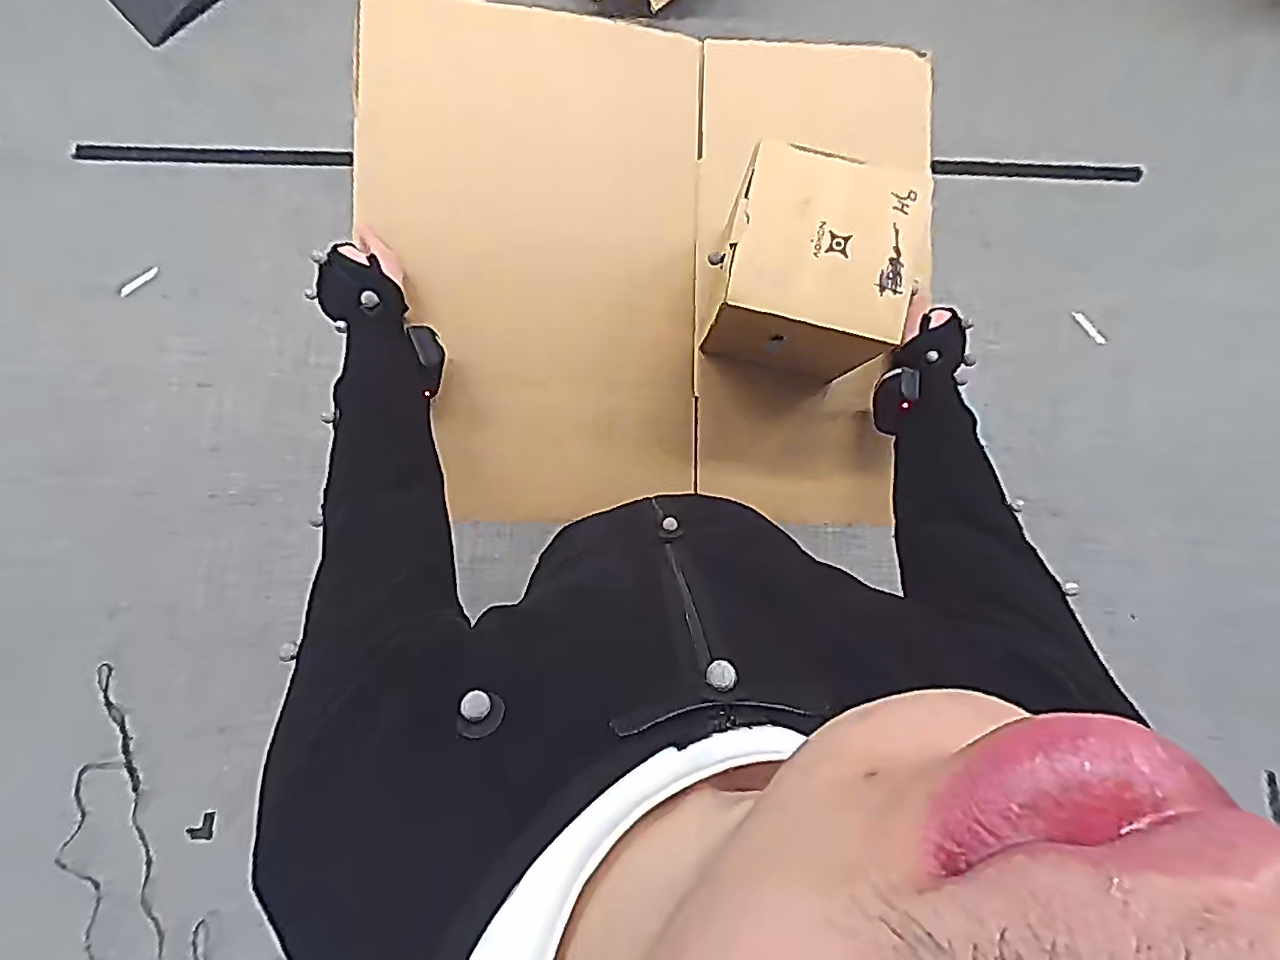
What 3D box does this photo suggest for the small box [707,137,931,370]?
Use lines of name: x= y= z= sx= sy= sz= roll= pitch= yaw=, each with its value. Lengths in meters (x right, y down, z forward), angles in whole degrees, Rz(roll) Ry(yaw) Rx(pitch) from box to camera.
small box: x=0.179 y=-0.232 z=0.599 sx=0.179 sy=0.176 sz=0.168 roll=13 pitch=89 yaw=0
